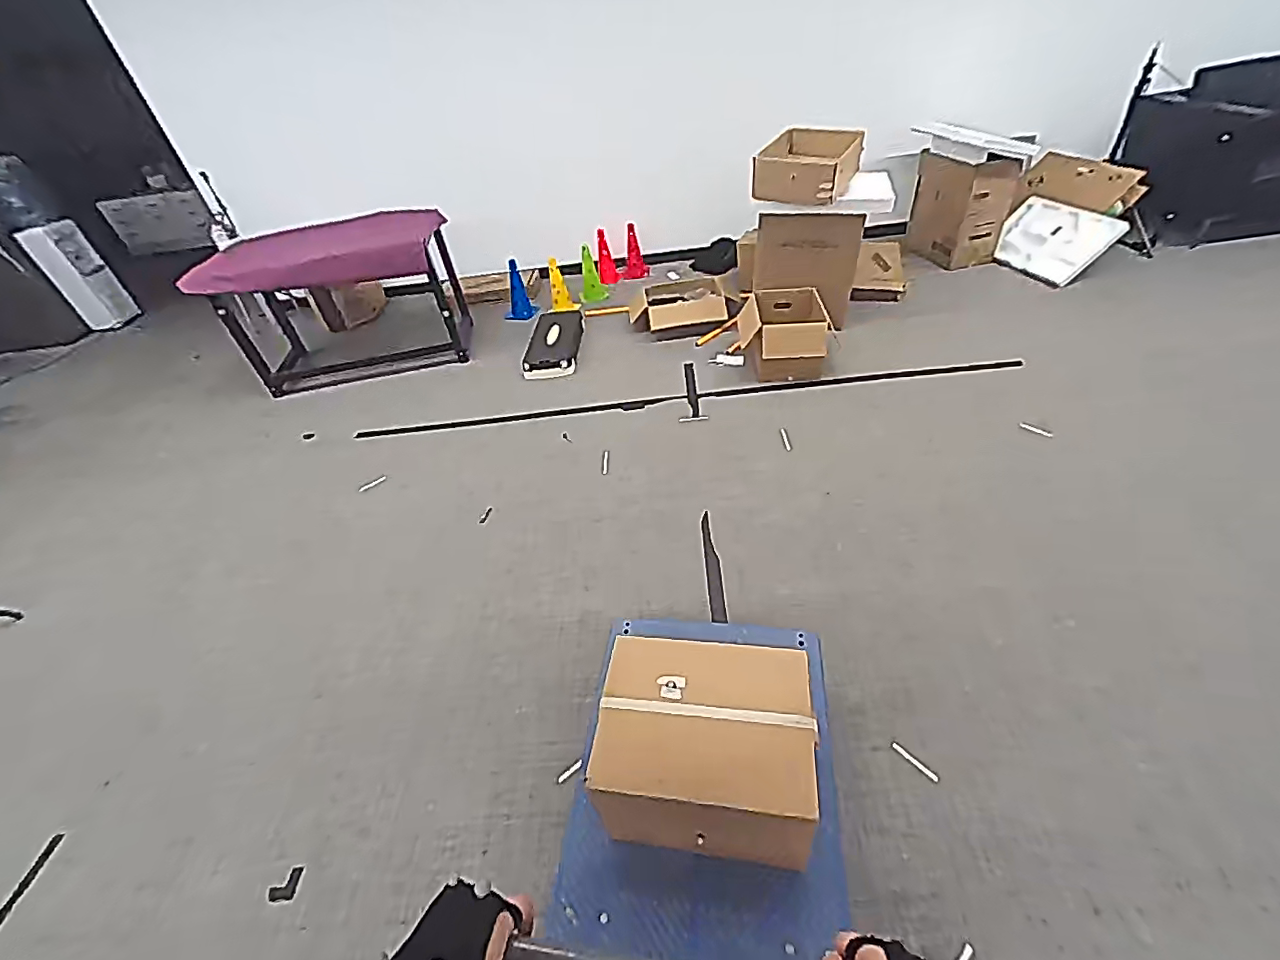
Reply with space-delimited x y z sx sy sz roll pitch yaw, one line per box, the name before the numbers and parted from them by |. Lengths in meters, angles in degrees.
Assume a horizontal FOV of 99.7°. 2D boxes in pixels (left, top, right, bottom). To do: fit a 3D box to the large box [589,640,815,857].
large box | 0.143 0.567 1.154 0.408 0.320 0.320 0 41 12
